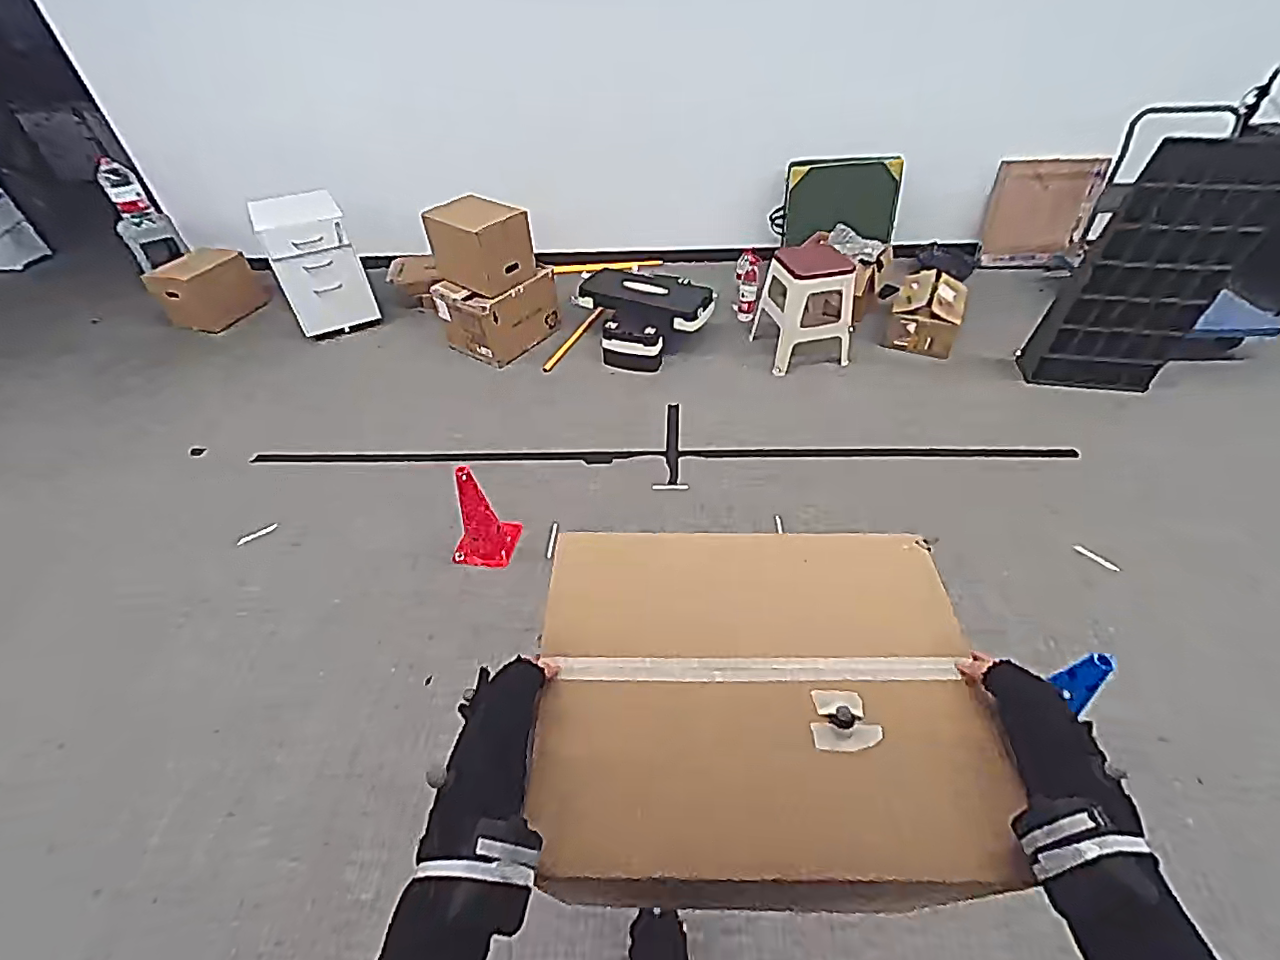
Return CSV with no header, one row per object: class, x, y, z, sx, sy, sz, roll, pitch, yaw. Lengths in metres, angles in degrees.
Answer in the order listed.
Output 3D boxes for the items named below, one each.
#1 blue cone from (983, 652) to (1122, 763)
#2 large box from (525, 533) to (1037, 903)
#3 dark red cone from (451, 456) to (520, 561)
blue cone,1.007,0.516,1.290,0.192,0.380,0.193,3,45,5
large box,0.107,0.274,0.620,0.408,0.320,0.320,0,49,1
dark red cone,-0.535,0.080,1.760,0.201,0.394,0.202,5,45,6
